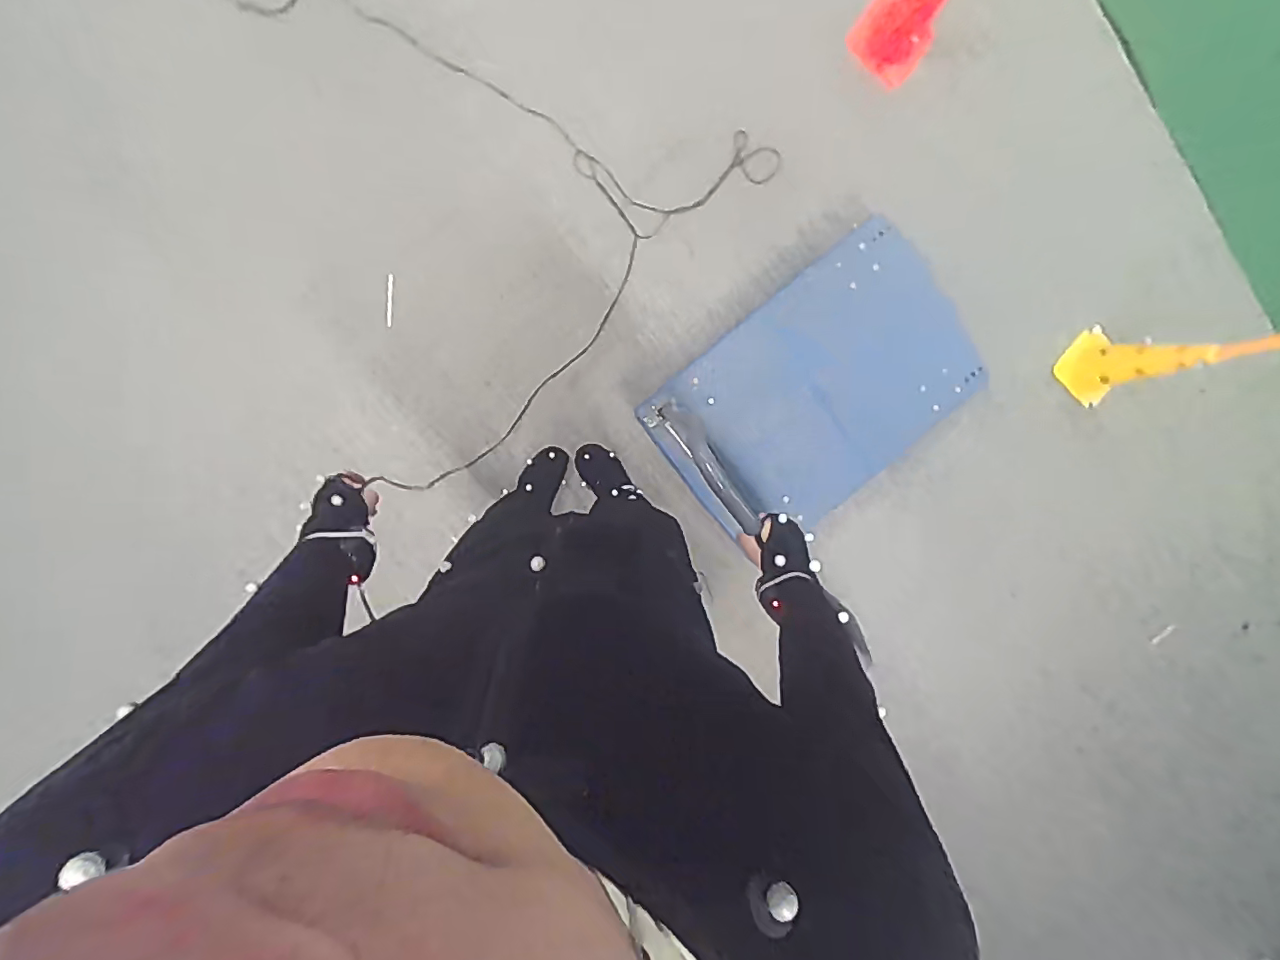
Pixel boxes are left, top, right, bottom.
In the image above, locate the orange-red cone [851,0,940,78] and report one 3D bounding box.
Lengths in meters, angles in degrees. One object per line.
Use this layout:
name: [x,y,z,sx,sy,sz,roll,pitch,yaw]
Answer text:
orange-red cone: [0.741,-1.269,1.381,0.199,0.360,0.198,36,91,-8]
